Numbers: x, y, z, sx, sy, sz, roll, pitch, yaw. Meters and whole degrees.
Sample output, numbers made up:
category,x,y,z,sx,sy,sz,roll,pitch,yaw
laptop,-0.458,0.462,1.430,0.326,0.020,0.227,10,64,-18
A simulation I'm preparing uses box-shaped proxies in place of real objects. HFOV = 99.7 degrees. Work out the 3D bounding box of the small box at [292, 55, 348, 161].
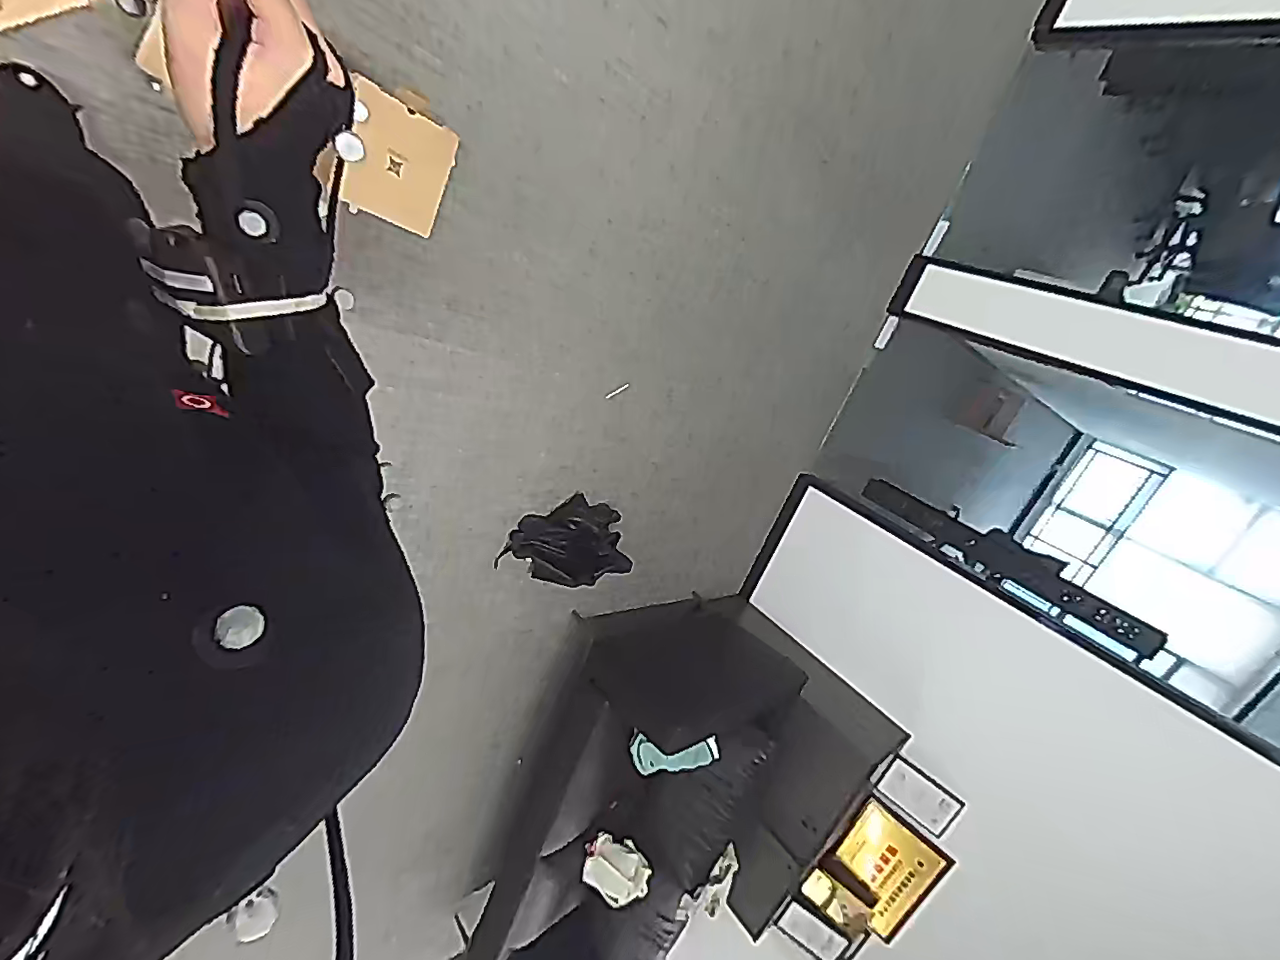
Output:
category,x,y,z,sx,sy,sz,roll,pitch,yaw
small box,-0.526,-0.650,1.010,0.168,0.176,0.179,8,114,-48

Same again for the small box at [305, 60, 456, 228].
category,x,y,z,sx,sy,sz,roll,pitch,yaw
small box,-0.440,-0.558,0.905,0.168,0.176,0.179,8,114,-47
